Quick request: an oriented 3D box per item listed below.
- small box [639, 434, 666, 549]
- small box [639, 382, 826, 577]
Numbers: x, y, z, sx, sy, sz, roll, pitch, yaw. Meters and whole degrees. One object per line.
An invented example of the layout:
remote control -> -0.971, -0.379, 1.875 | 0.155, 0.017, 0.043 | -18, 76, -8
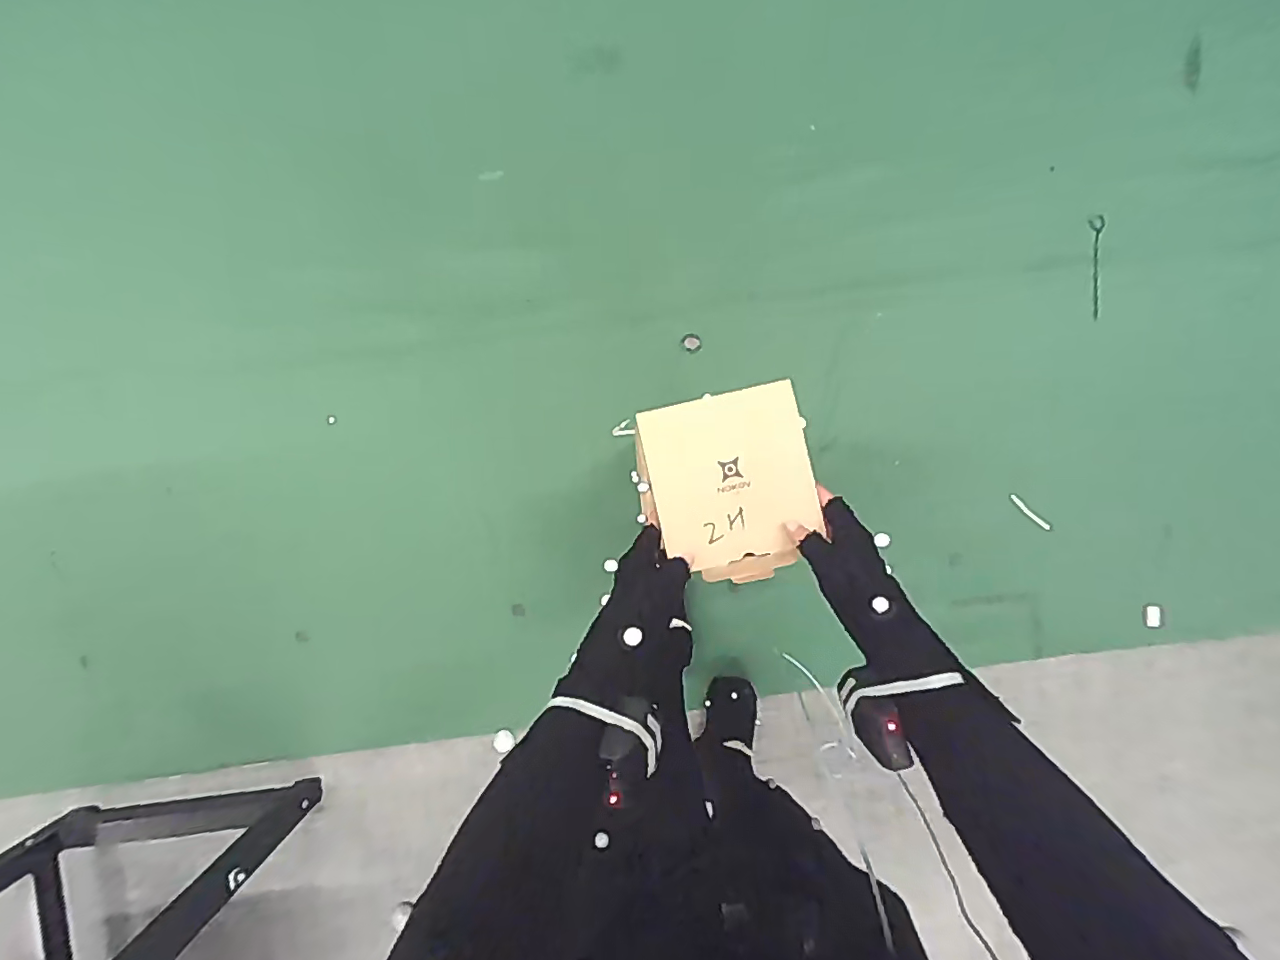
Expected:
small box -> 0.089, -0.002, 0.817 | 0.168, 0.176, 0.179 | -8, 92, 0
small box -> 0.097, 0.001, 0.636 | 0.168, 0.176, 0.179 | -13, 89, 2
